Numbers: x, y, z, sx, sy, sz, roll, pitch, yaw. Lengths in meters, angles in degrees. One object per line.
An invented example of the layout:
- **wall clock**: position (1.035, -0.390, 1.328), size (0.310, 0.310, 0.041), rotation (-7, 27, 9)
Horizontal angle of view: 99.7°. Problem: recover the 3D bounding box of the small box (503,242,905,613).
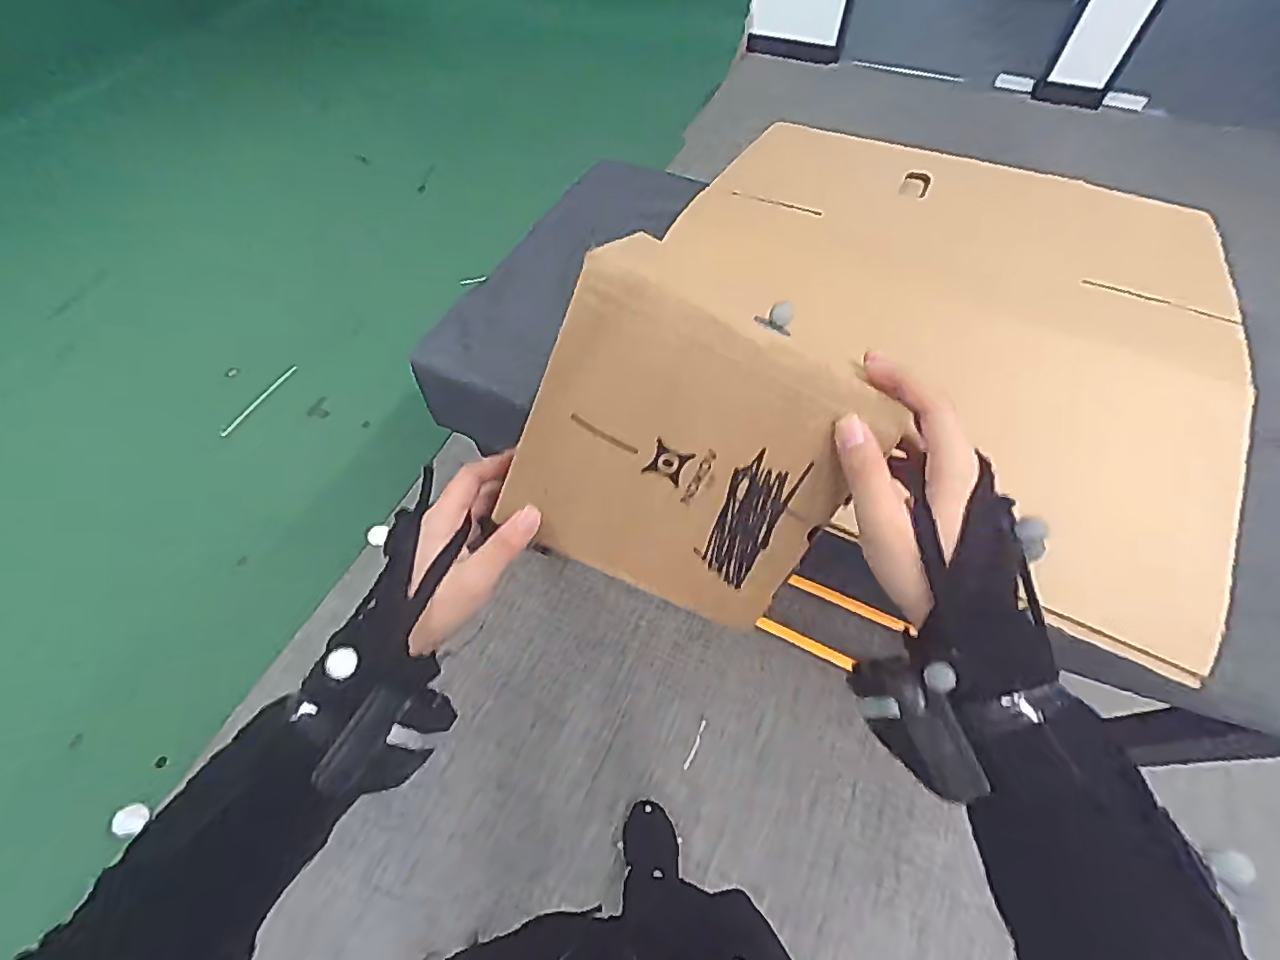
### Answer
- **small box**: position (0.036, -0.049, 0.372), size (0.179, 0.168, 0.176), rotation (25, 27, -4)
